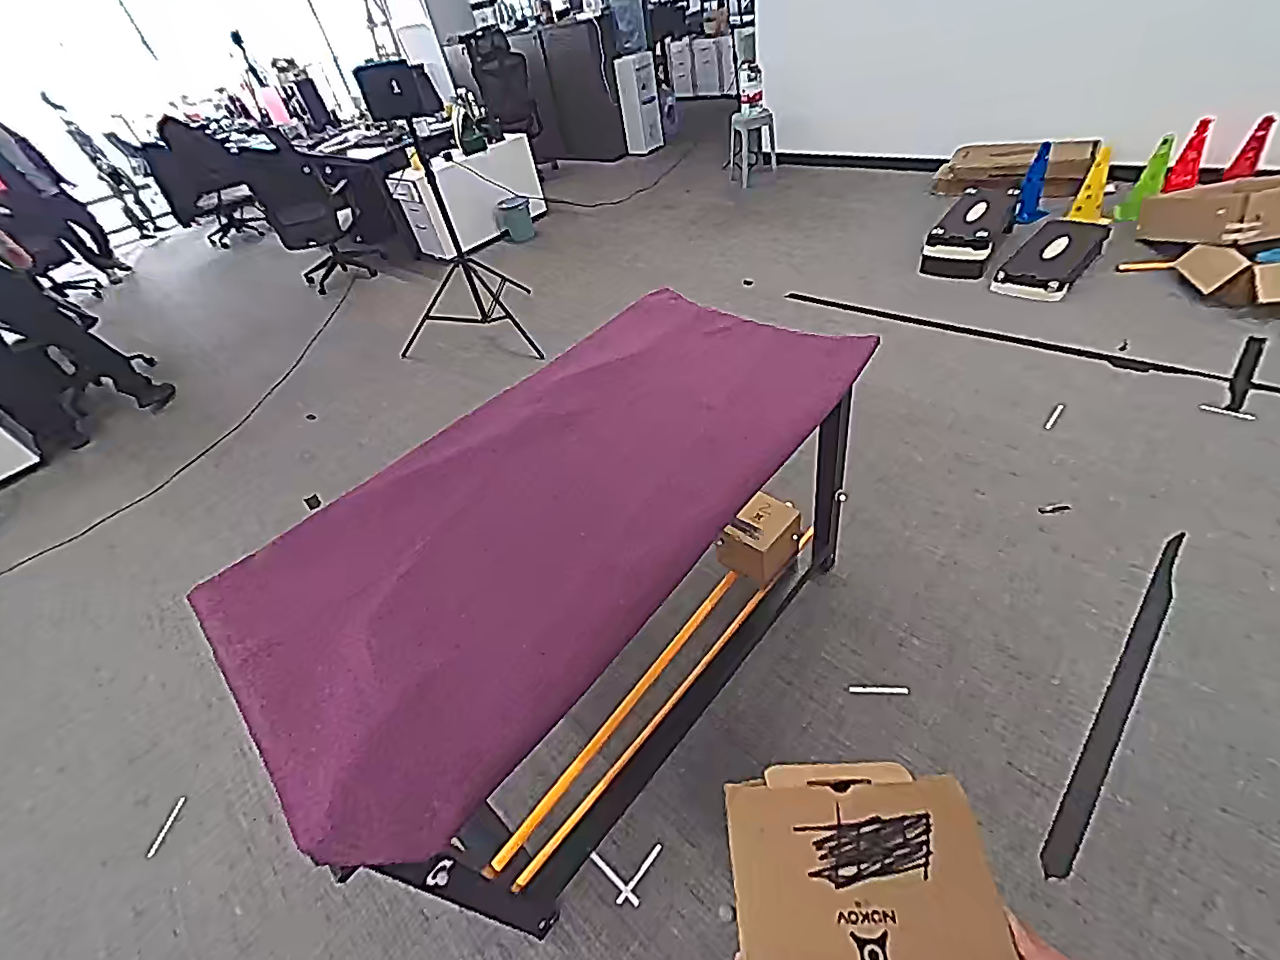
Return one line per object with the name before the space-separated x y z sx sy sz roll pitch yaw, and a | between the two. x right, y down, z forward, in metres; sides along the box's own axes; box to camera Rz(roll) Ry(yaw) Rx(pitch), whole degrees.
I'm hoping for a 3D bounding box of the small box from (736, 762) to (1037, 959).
small box | 0.162 0.324 0.397 0.168 0.176 0.179 -6 51 6
